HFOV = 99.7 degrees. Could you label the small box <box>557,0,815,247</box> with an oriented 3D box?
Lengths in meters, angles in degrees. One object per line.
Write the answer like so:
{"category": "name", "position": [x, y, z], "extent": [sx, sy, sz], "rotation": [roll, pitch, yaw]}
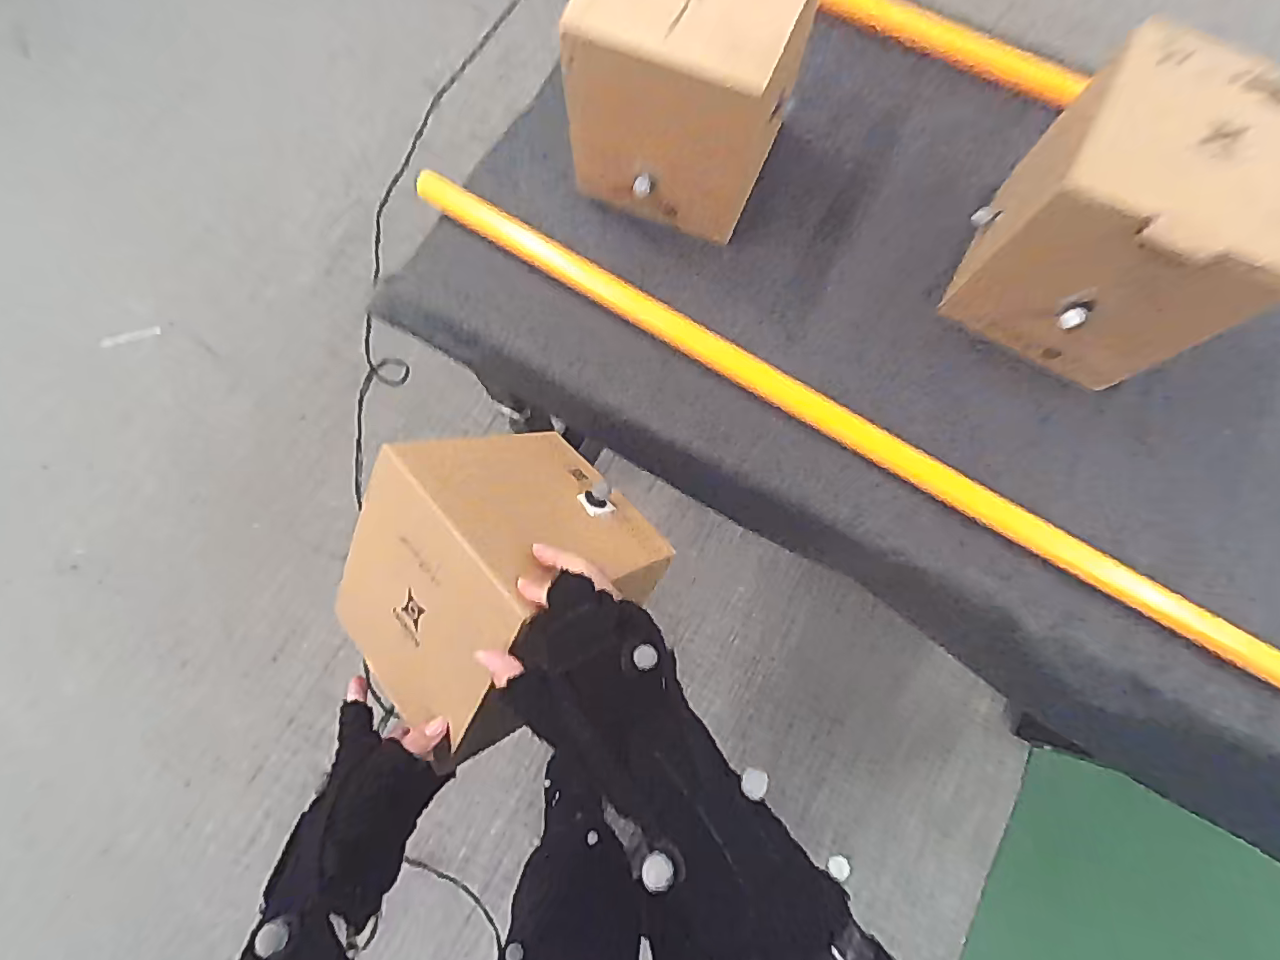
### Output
{"category": "small box", "position": [0.041, -0.359, 0.496], "extent": [0.168, 0.176, 0.179], "rotation": [22, 77, 5]}

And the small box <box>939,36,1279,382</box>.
{"category": "small box", "position": [0.393, -0.214, 0.465], "extent": [0.168, 0.176, 0.179], "rotation": [26, 76, 8]}
